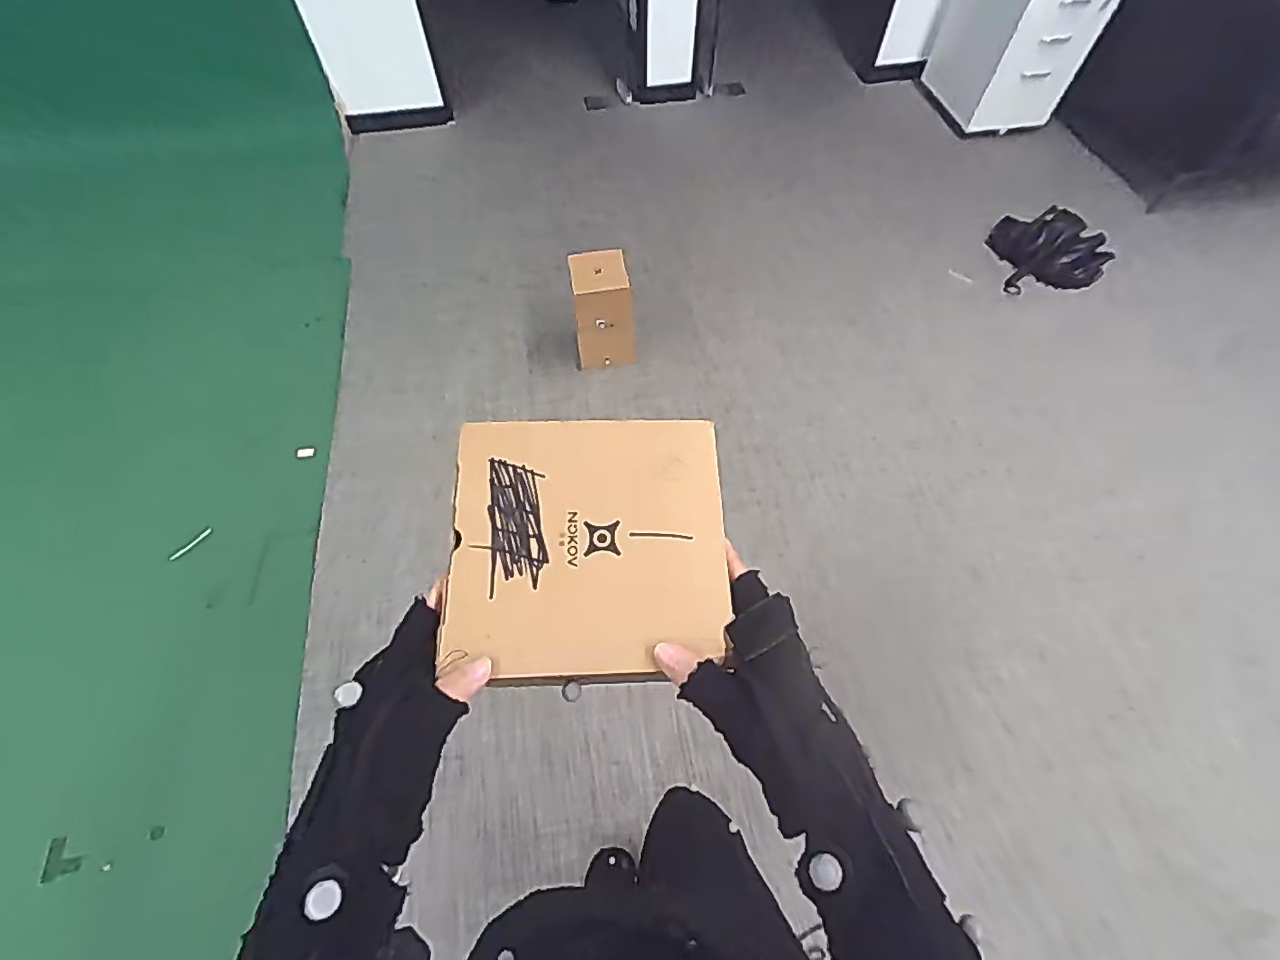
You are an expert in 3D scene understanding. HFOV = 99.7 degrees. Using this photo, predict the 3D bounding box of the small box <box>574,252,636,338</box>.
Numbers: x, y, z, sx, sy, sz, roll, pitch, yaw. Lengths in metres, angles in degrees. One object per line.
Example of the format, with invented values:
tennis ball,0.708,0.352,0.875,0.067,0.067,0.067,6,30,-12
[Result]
small box,-0.105,-0.568,1.667,0.168,0.176,0.179,-10,61,-3

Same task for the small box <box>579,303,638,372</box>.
small box,-0.104,-0.483,1.807,0.179,0.176,0.168,-7,59,-3

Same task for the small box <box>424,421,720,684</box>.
small box,-0.043,0.066,0.418,0.179,0.176,0.168,-1,68,-3
